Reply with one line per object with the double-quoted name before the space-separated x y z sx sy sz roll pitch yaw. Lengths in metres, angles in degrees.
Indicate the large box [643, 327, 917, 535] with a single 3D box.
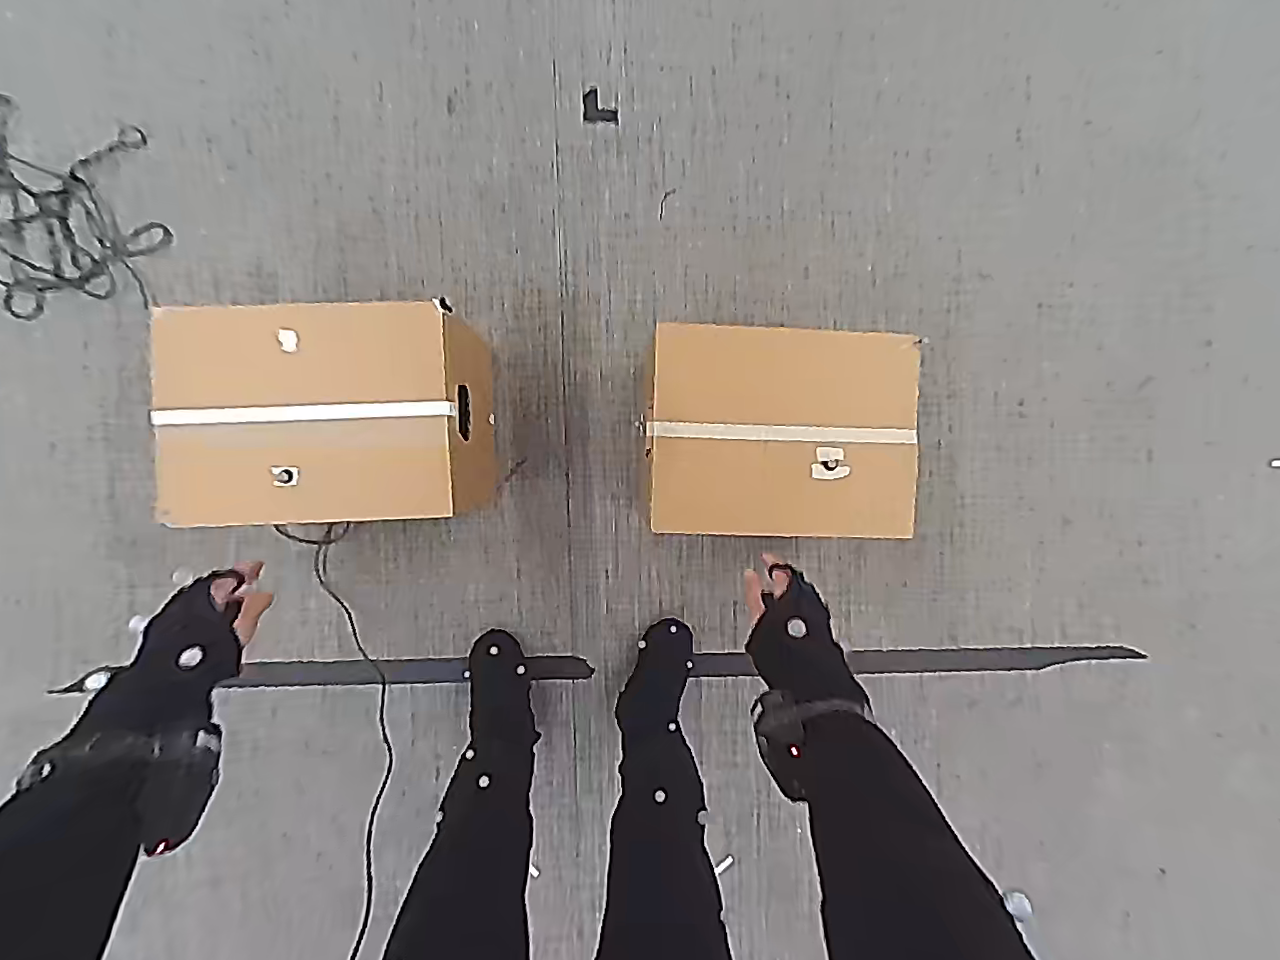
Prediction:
"large box" 0.214 -0.073 0.969 0.408 0.320 0.320 2 91 -4
